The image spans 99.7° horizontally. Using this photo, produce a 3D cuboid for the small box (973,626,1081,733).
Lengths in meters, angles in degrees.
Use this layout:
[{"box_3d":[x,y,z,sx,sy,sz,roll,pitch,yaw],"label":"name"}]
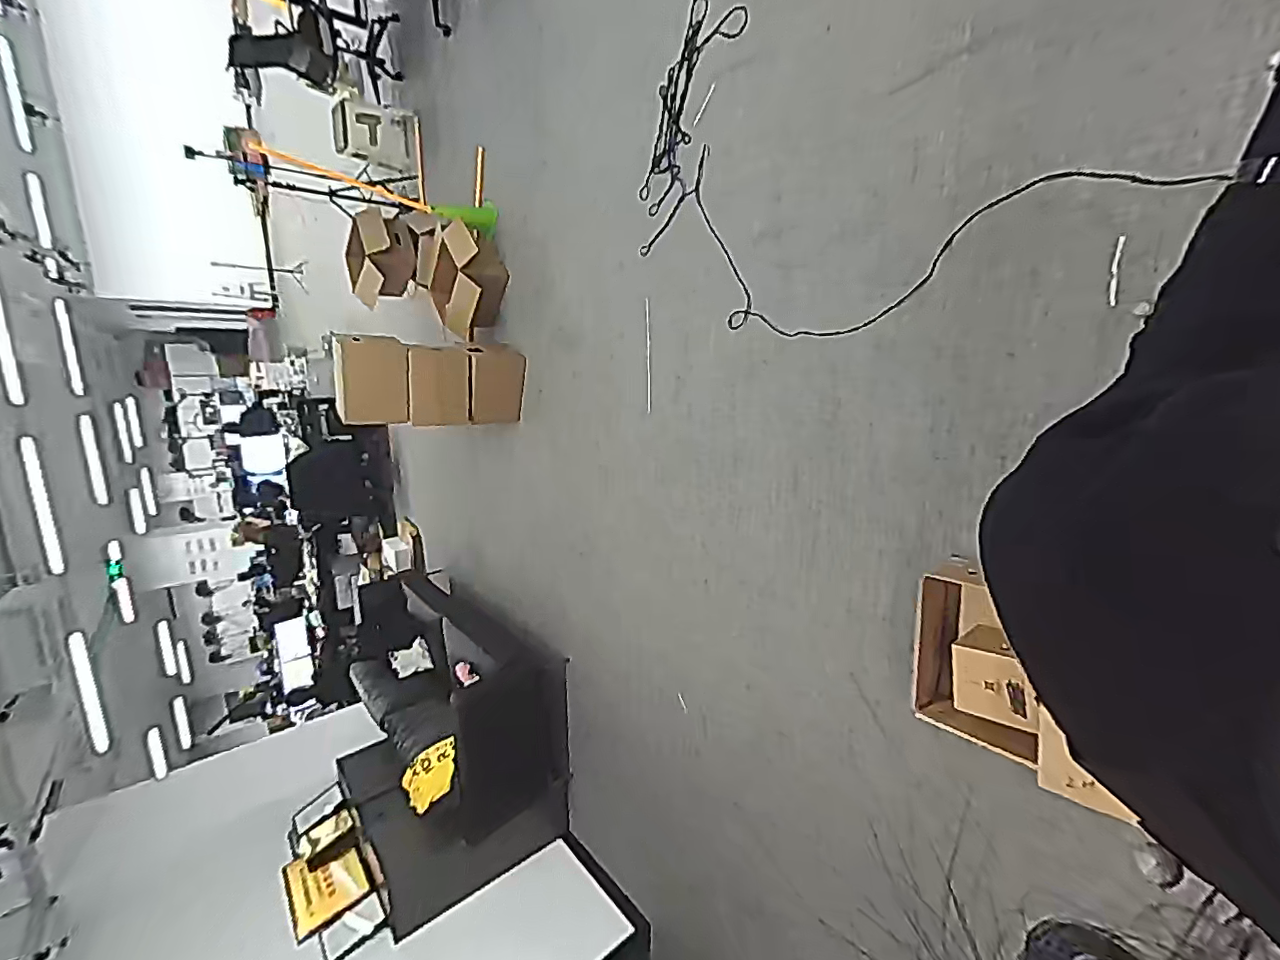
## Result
[{"box_3d":[0.918,0.459,1.278,0.179,0.176,0.168,1,98,52],"label":"small box"}]
